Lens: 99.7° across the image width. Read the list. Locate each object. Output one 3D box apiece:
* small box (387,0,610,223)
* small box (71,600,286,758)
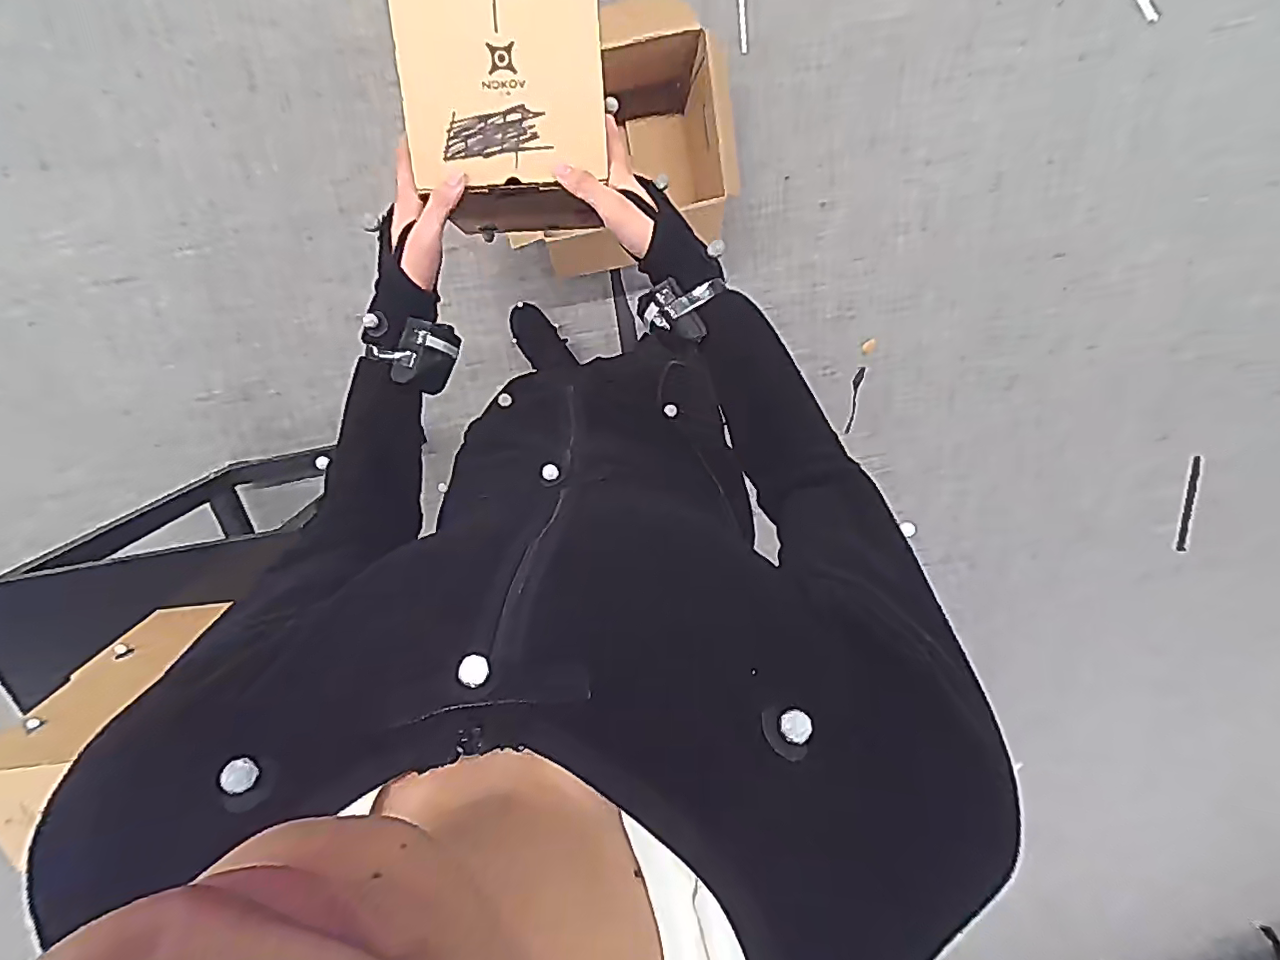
[{"bbox_3d":[-0.115,-0.349,0.506,0.168,0.176,0.179,-4,103,-3],"label":"small box"},{"bbox_3d":[-0.722,0.312,0.871,0.179,0.176,0.168,-5,112,-2],"label":"small box"}]
